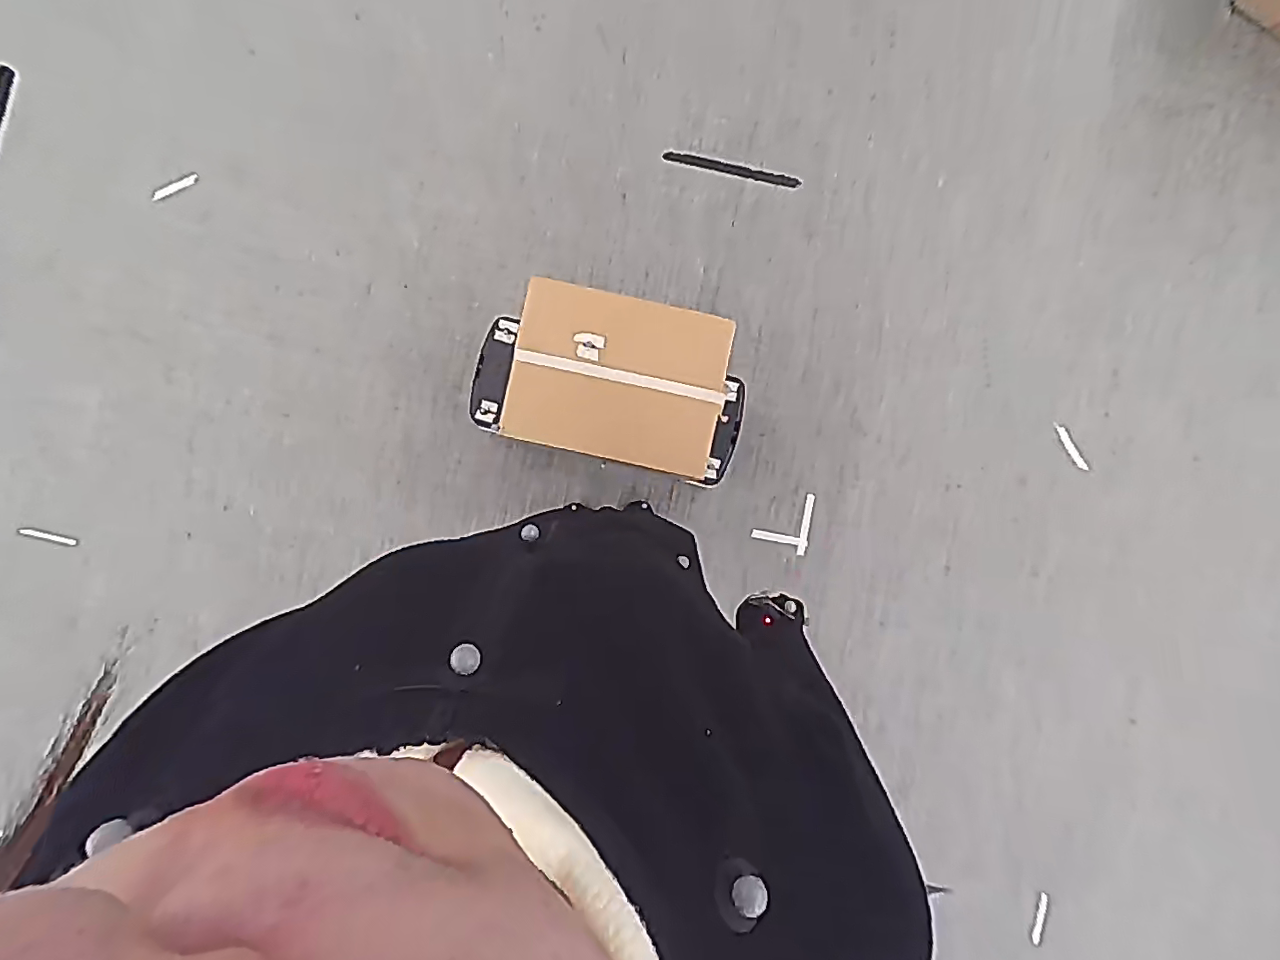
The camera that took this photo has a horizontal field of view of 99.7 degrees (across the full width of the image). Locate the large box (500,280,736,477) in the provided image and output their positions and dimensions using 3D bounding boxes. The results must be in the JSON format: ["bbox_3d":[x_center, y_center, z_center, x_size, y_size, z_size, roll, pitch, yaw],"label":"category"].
[{"bbox_3d":[-0.039,-0.190,1.166,0.408,0.320,0.320,12,89,0],"label":"large box"}]
